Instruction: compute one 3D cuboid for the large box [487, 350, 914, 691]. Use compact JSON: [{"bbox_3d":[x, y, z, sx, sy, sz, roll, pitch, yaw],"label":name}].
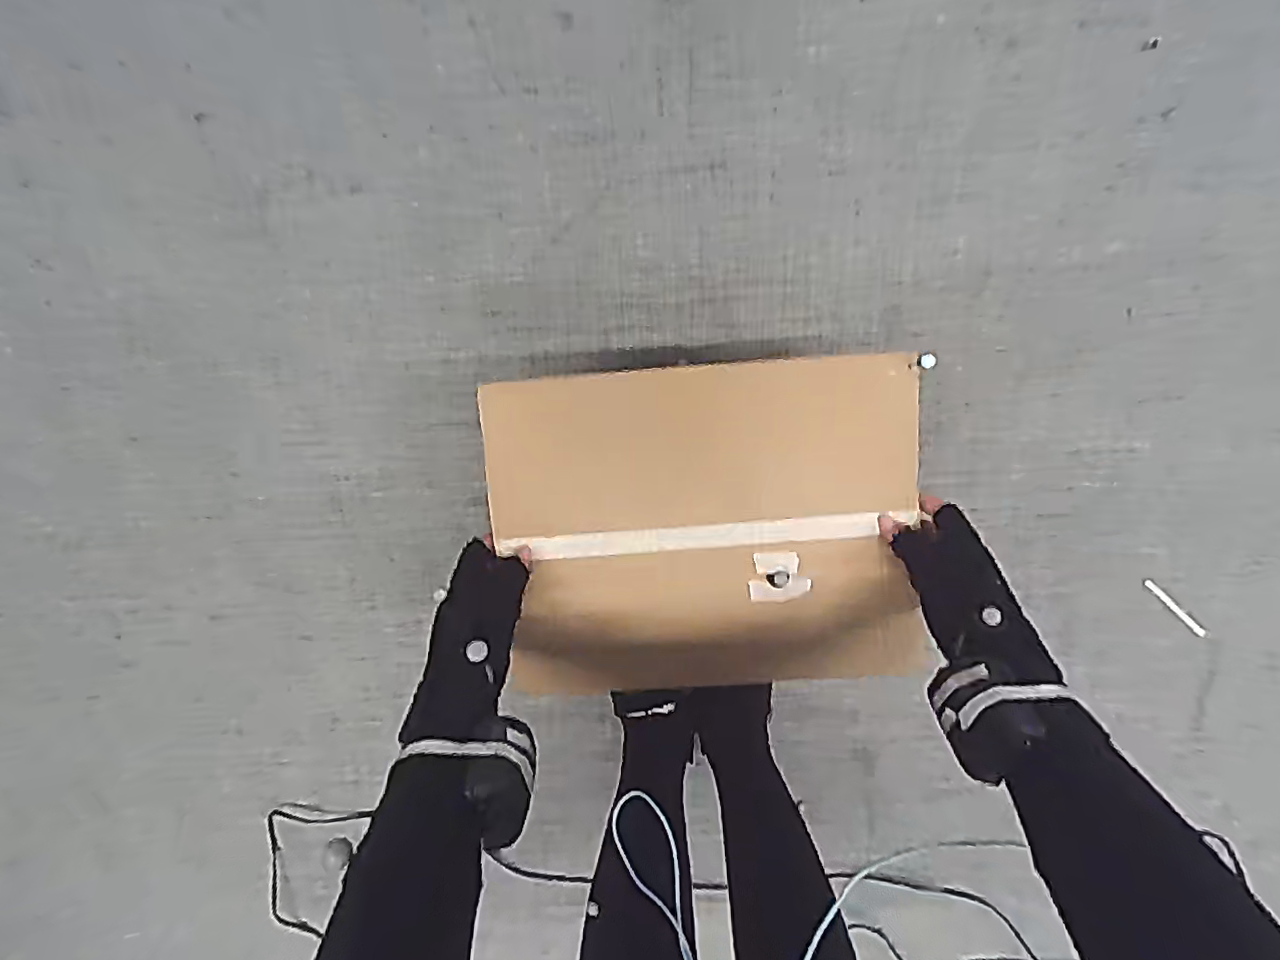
[{"bbox_3d":[0.064,0.029,0.674,0.408,0.320,0.320,-4,98,2],"label":"large box"}]
